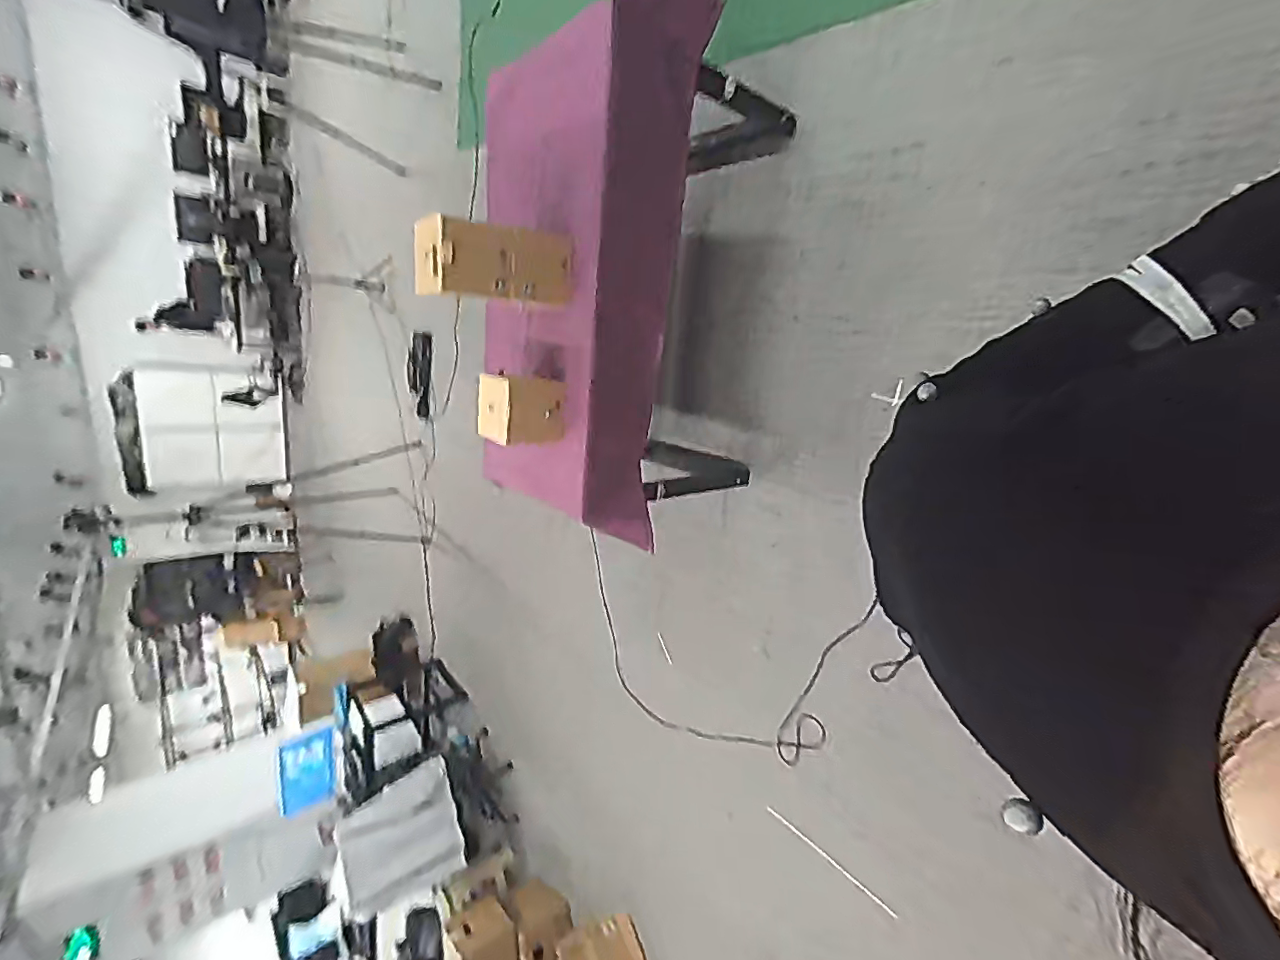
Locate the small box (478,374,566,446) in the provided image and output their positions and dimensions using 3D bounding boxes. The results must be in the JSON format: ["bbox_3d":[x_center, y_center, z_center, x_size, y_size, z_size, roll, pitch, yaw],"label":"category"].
[{"bbox_3d":[-0.321,-0.191,1.468,0.179,0.176,0.168,22,111,46],"label":"small box"}]

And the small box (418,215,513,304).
[{"bbox_3d":[-0.414,-0.517,1.287,0.179,0.176,0.168,20,109,48],"label":"small box"}]
